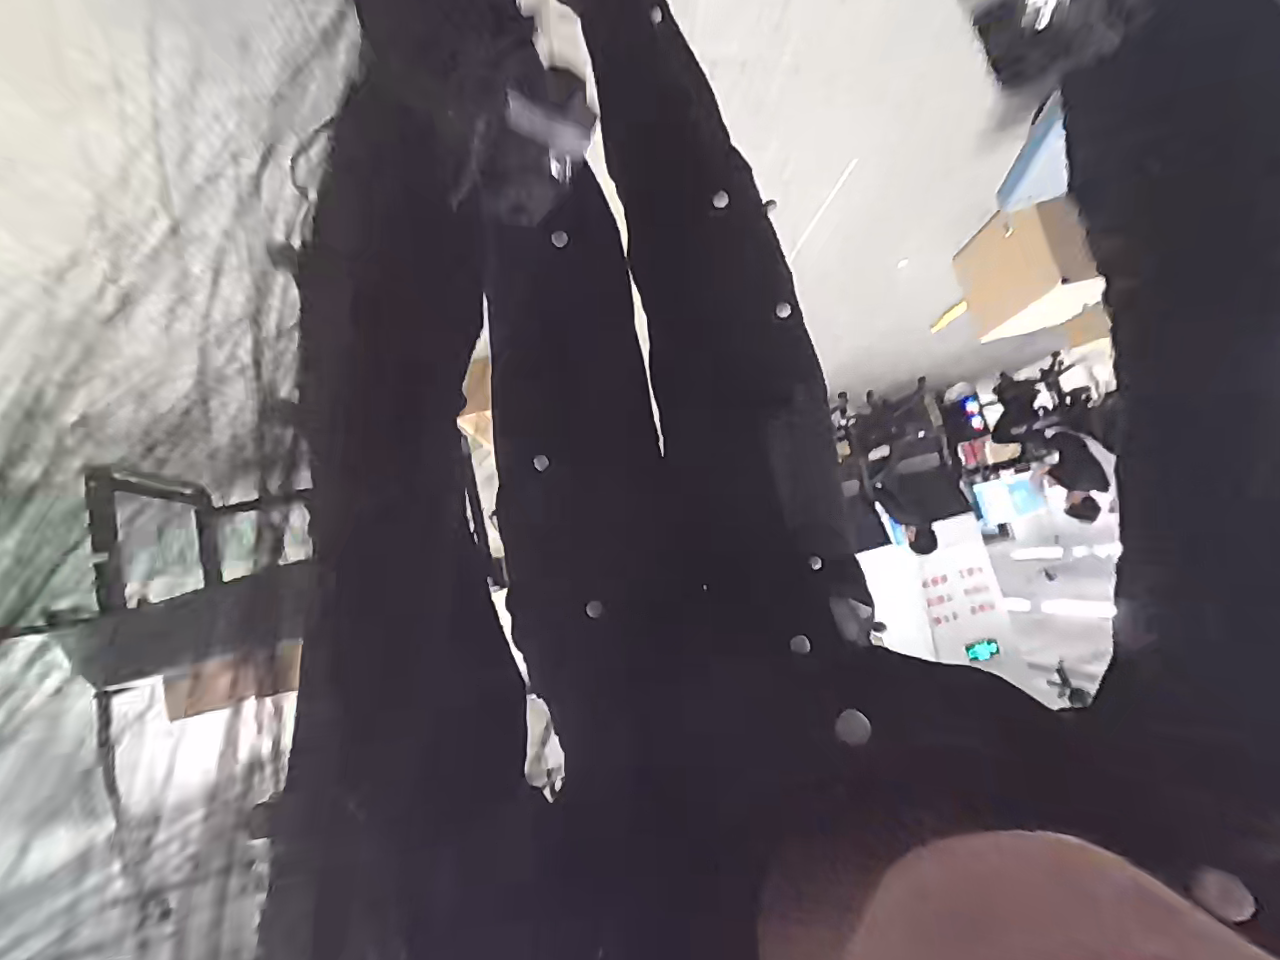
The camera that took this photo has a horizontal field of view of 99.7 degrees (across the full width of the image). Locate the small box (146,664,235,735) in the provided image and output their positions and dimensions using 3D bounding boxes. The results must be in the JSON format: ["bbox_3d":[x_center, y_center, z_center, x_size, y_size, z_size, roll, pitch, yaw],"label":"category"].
[{"bbox_3d":[-1.506,0.729,1.816,0.168,0.176,0.179,-13,171,-12],"label":"small box"}]

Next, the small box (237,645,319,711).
[{"bbox_3d":[-1.257,0.677,1.878,0.179,0.176,0.168,-13,171,-6],"label":"small box"}]
